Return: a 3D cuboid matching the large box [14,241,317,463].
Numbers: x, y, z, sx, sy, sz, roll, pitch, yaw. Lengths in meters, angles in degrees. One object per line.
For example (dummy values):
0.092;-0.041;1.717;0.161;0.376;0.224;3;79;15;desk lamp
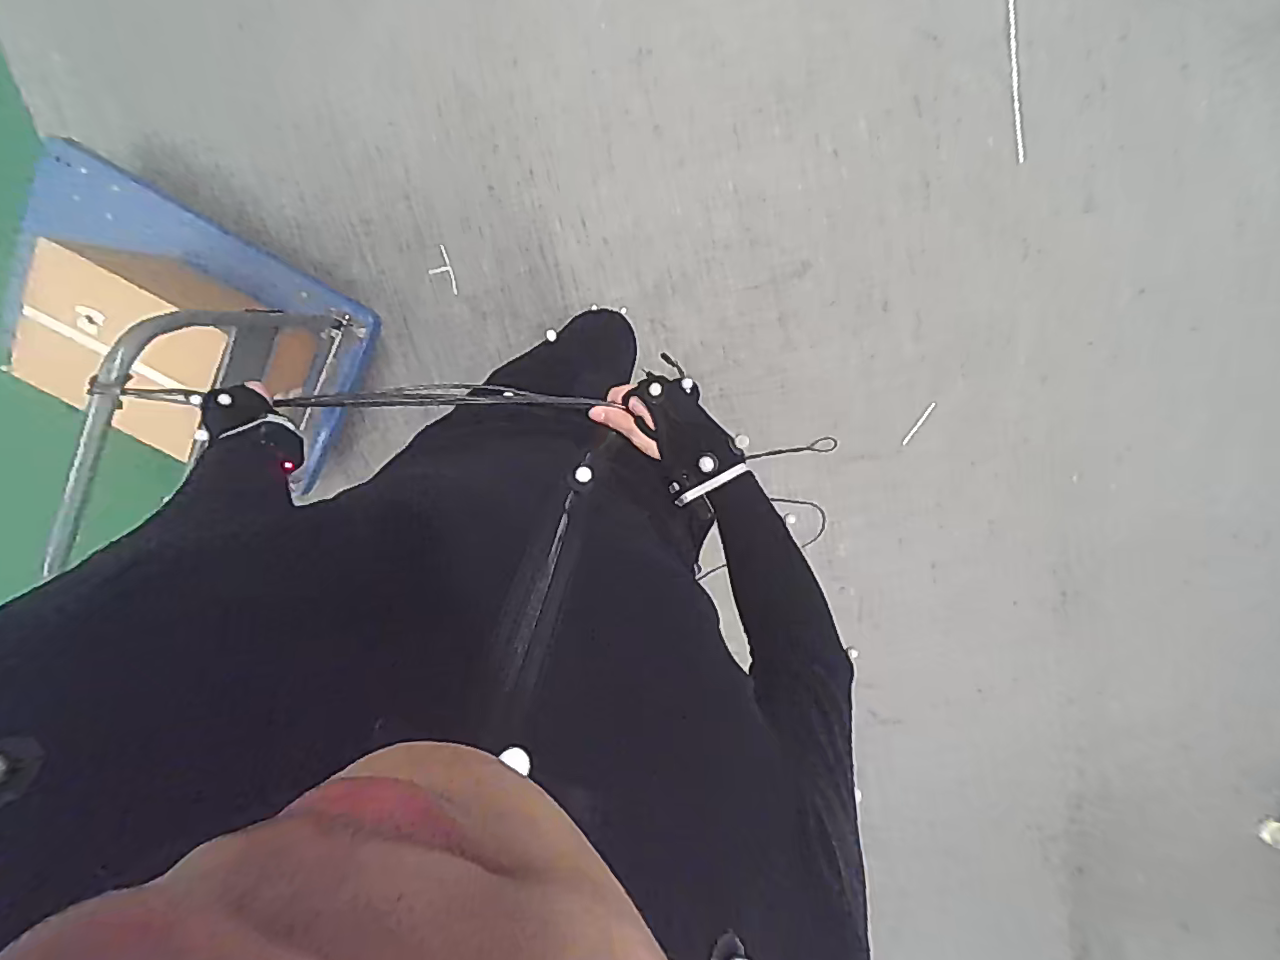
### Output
-1.069;-0.291;1.261;0.408;0.320;0.320;29;103;-4;large box
